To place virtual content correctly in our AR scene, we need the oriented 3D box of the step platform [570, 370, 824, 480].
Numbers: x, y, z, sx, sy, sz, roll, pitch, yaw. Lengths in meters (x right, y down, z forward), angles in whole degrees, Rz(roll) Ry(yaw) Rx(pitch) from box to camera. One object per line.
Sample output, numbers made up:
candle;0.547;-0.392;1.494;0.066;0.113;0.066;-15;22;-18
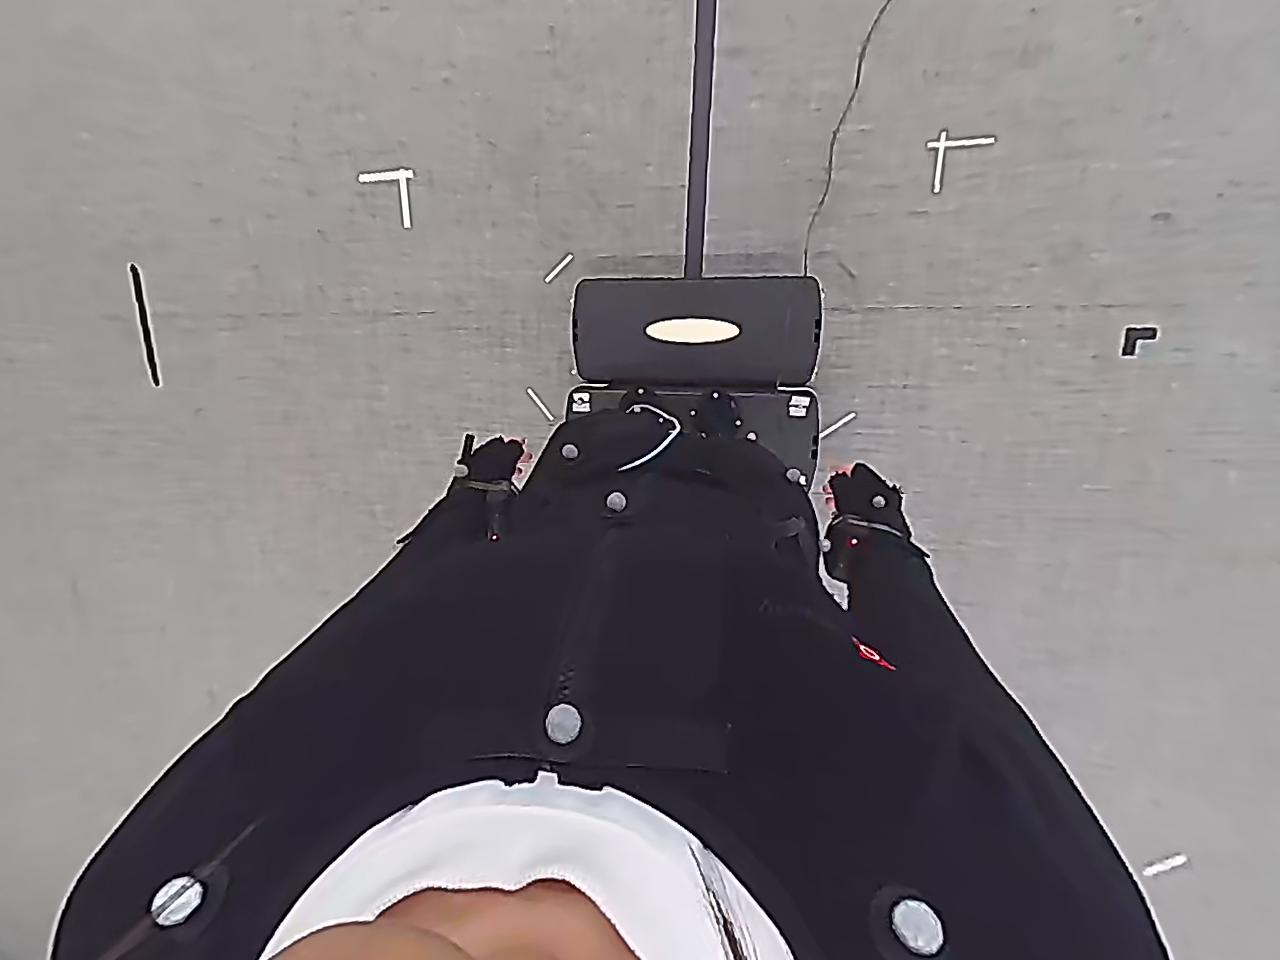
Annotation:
step platform;0.151;-0.158;1.493;0.684;0.204;0.286;2;102;10
